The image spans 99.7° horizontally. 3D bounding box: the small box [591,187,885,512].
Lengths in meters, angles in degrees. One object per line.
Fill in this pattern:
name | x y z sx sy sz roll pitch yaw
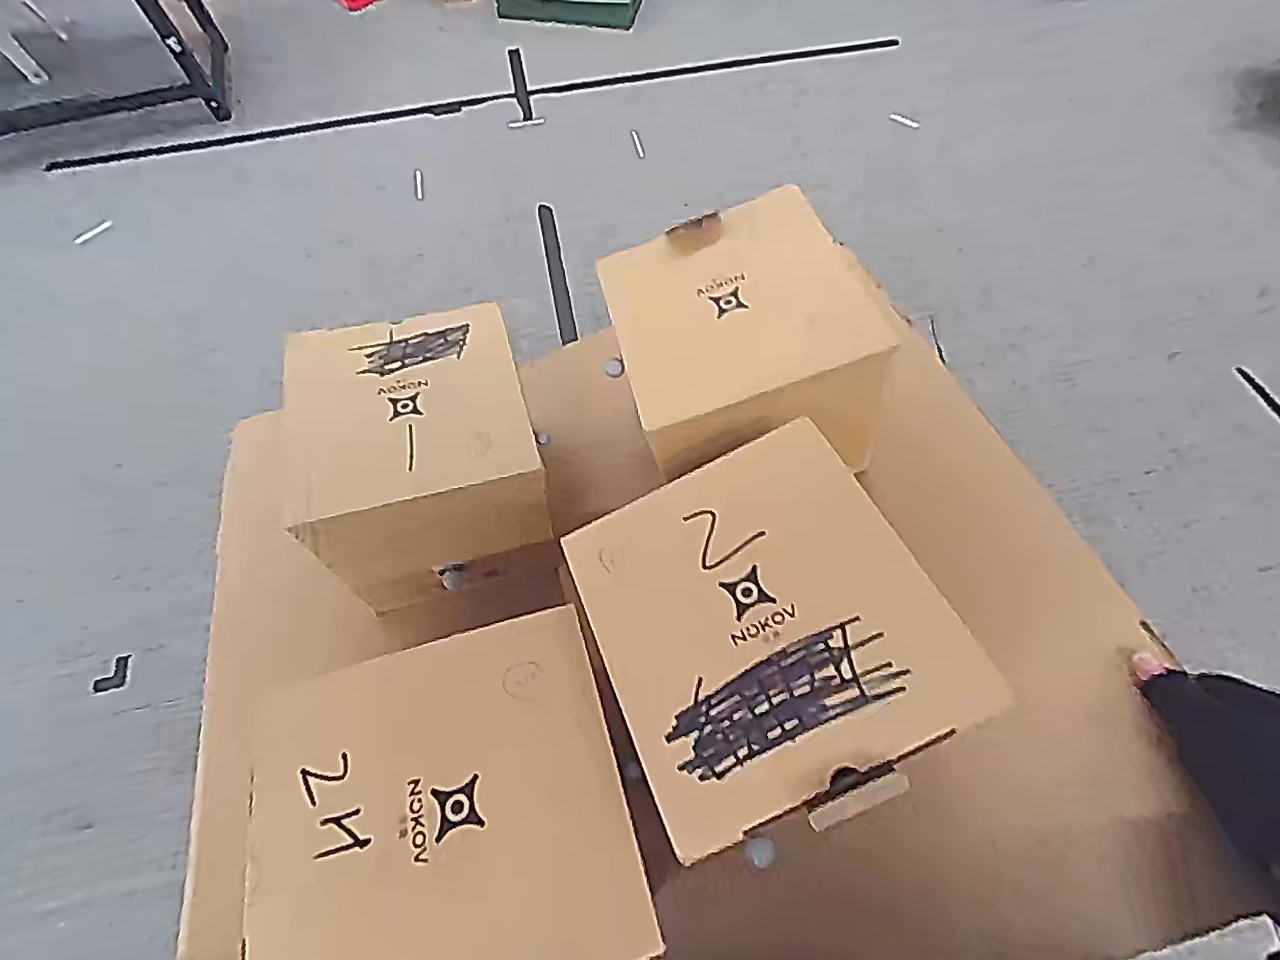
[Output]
small box | 0.077 -0.090 0.446 0.168 0.176 0.179 -19 59 6
